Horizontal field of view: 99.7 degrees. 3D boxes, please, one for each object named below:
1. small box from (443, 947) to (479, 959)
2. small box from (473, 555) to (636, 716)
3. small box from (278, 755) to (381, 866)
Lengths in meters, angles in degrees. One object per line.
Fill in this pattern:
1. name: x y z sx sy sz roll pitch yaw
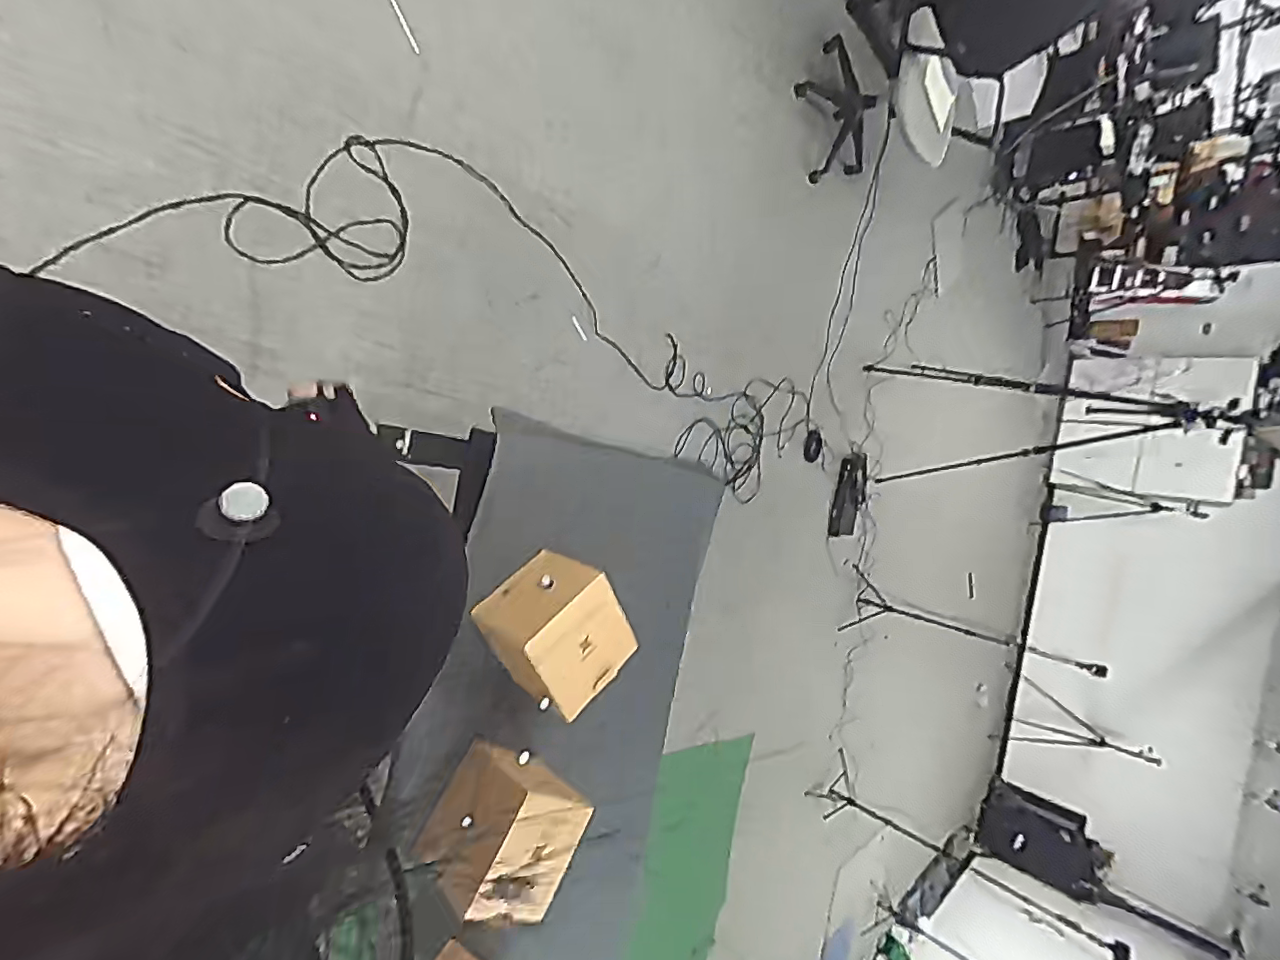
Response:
1. small box: -0.280 0.901 0.857 0.168 0.176 0.179 -45 126 -33
2. small box: -0.142 0.241 0.887 0.168 0.176 0.179 -42 124 -32
3. small box: -0.792 0.823 1.374 0.168 0.176 0.179 19 85 -45
